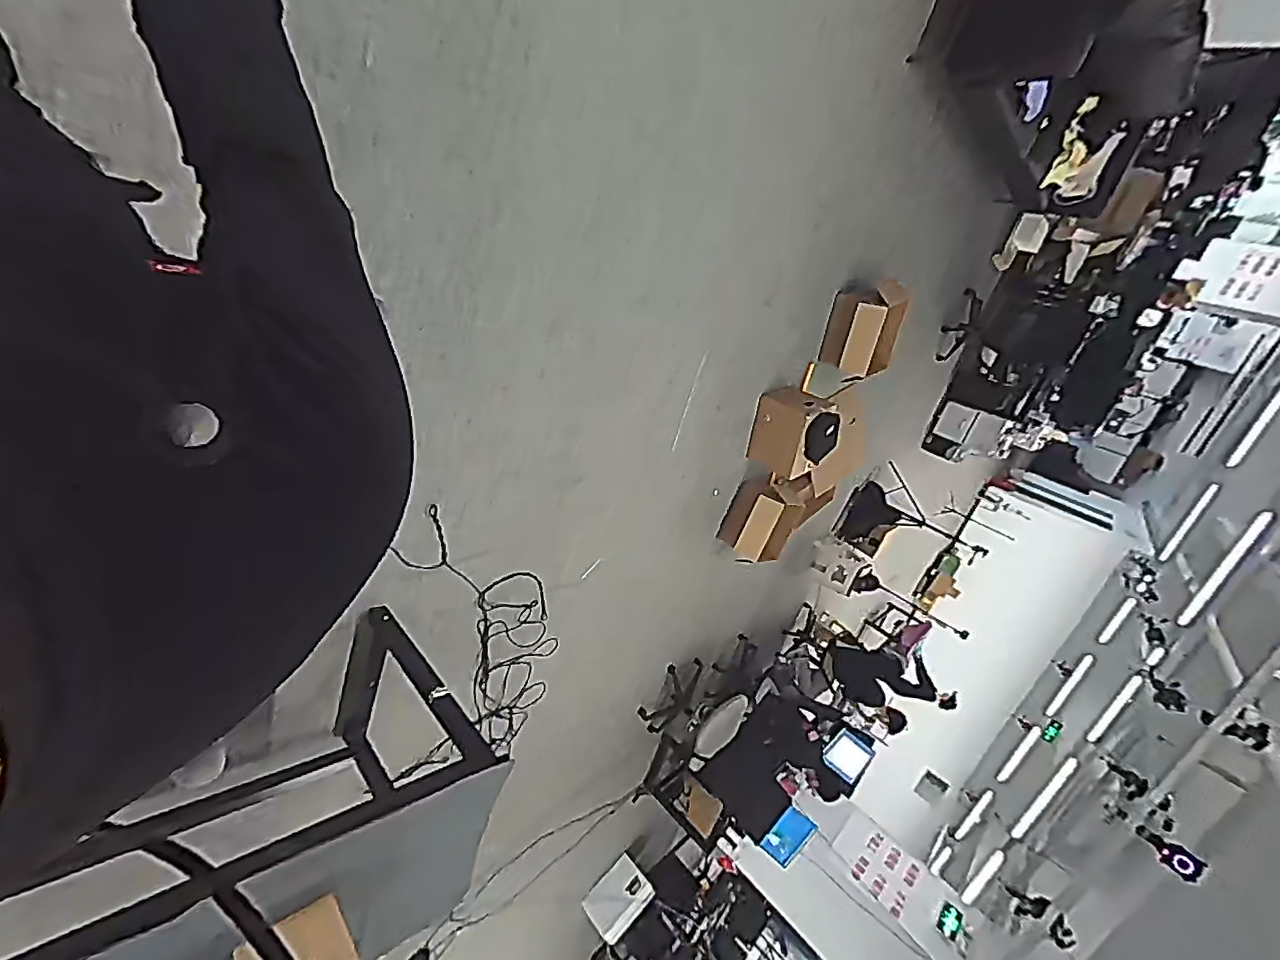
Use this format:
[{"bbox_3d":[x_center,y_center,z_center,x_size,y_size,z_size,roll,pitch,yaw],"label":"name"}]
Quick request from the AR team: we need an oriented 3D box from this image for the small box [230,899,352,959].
[{"bbox_3d":[-0.704,1.010,1.089,0.179,0.176,0.168,-3,119,-48],"label":"small box"}]
